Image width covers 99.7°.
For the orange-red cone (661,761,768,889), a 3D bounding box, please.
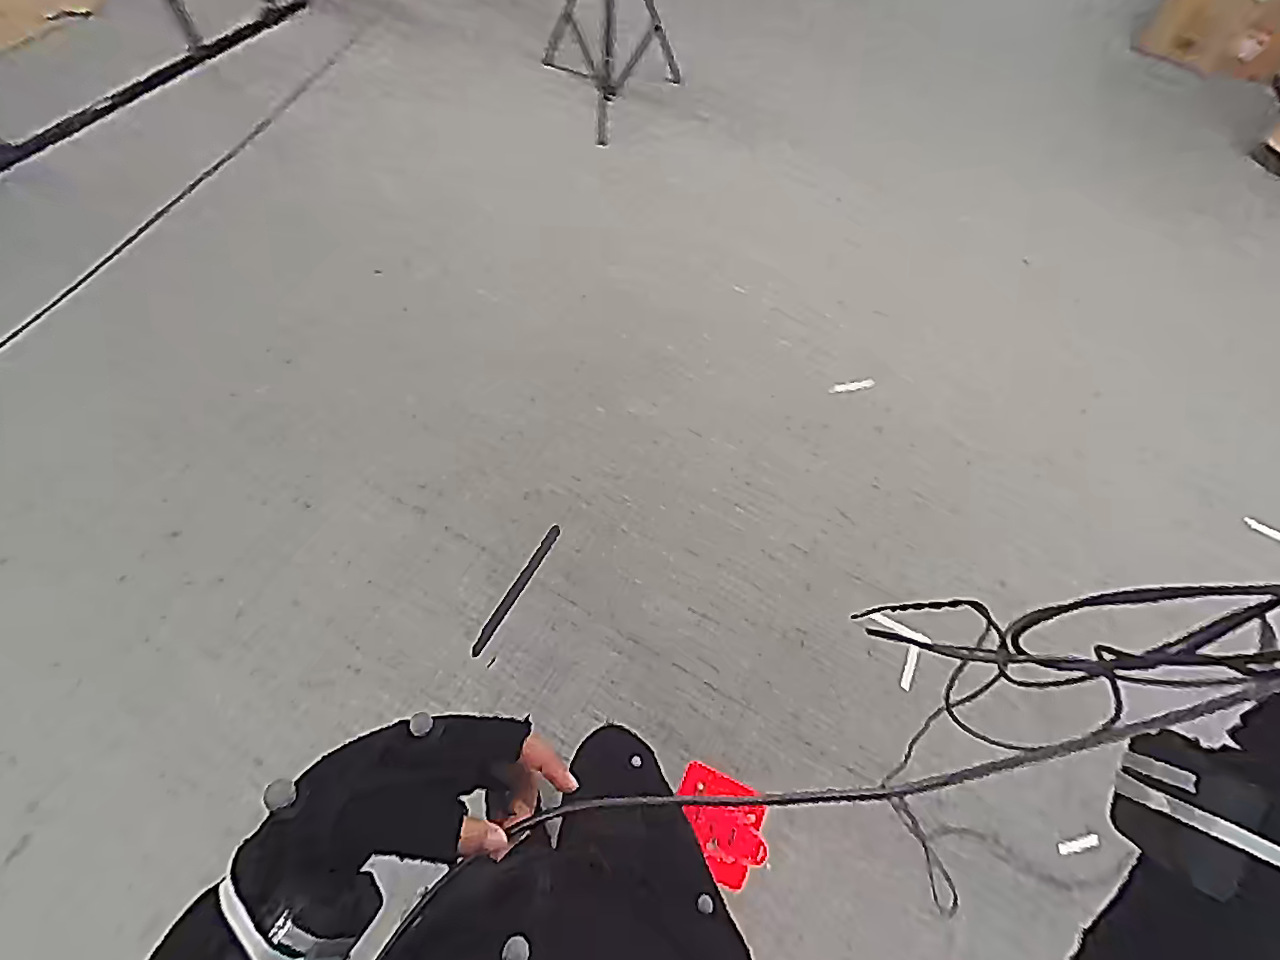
[{"bbox_3d":[0.177,0.688,1.046,0.198,0.360,0.199,25,66,8],"label":"orange-red cone"}]
